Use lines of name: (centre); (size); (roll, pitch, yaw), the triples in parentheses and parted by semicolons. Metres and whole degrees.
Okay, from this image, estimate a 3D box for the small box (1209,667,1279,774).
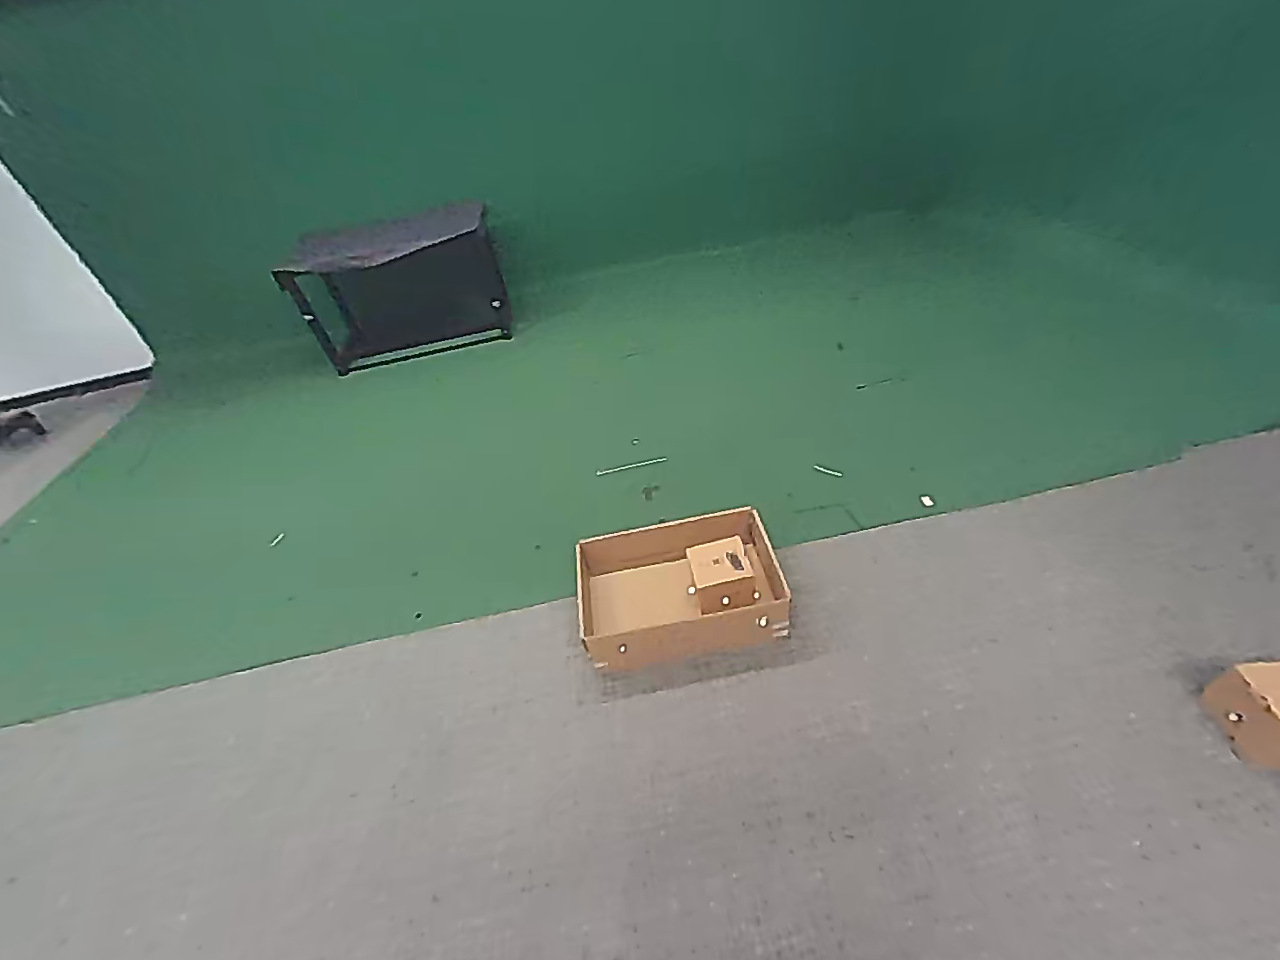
small box: (1.434, 0.533, 1.198); (0.179, 0.176, 0.168); (-5, 40, 9)
